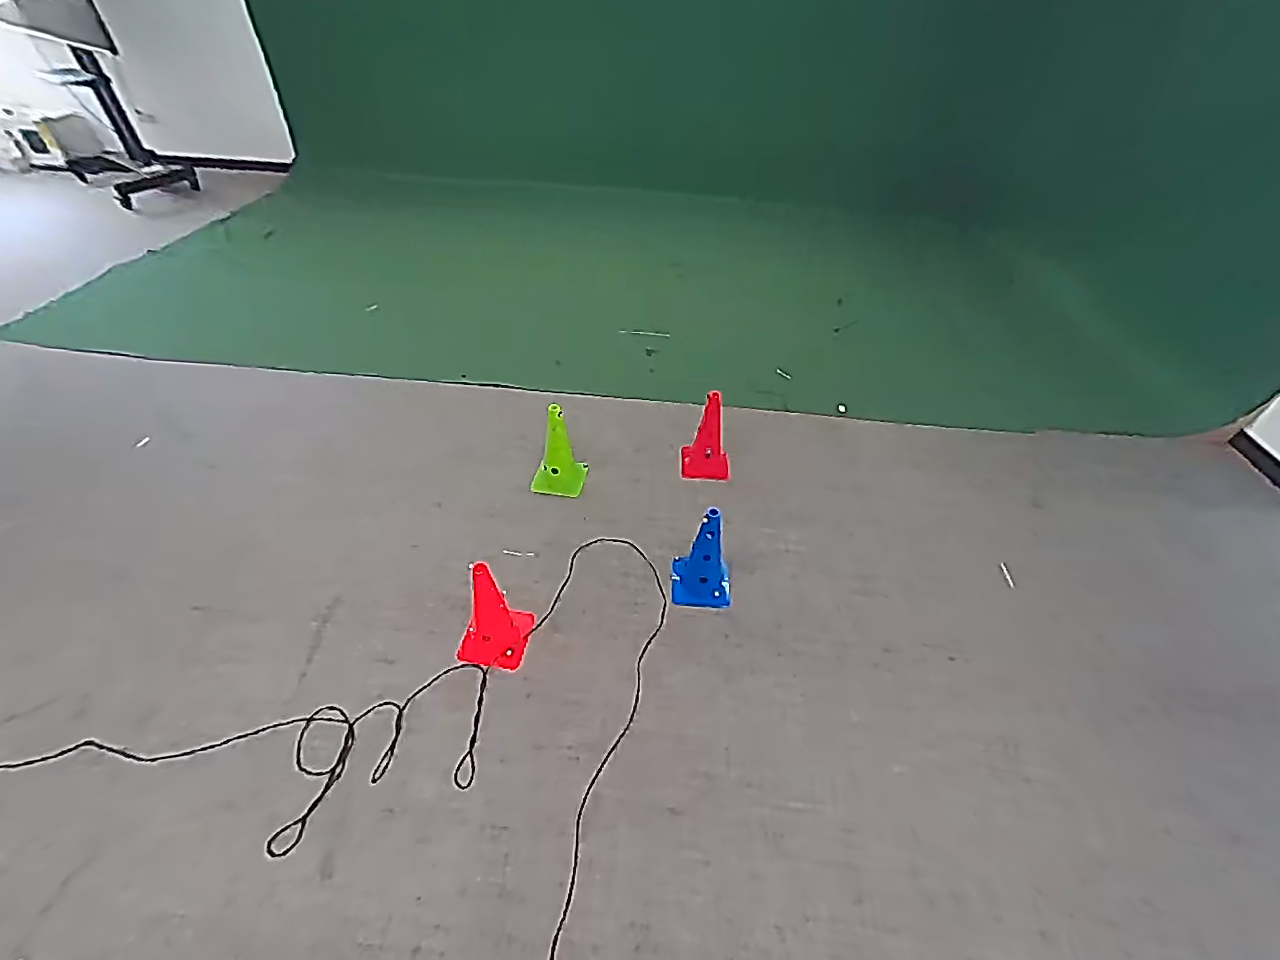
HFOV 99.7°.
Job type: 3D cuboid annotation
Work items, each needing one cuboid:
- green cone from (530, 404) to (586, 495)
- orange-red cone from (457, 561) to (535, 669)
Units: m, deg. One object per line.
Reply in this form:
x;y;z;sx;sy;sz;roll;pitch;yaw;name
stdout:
-0.326;-0.142;2.085;0.200;0.368;0.202;6;45;4;green cone
-0.434;0.357;1.560;0.198;0.360;0.199;9;42;5;orange-red cone
